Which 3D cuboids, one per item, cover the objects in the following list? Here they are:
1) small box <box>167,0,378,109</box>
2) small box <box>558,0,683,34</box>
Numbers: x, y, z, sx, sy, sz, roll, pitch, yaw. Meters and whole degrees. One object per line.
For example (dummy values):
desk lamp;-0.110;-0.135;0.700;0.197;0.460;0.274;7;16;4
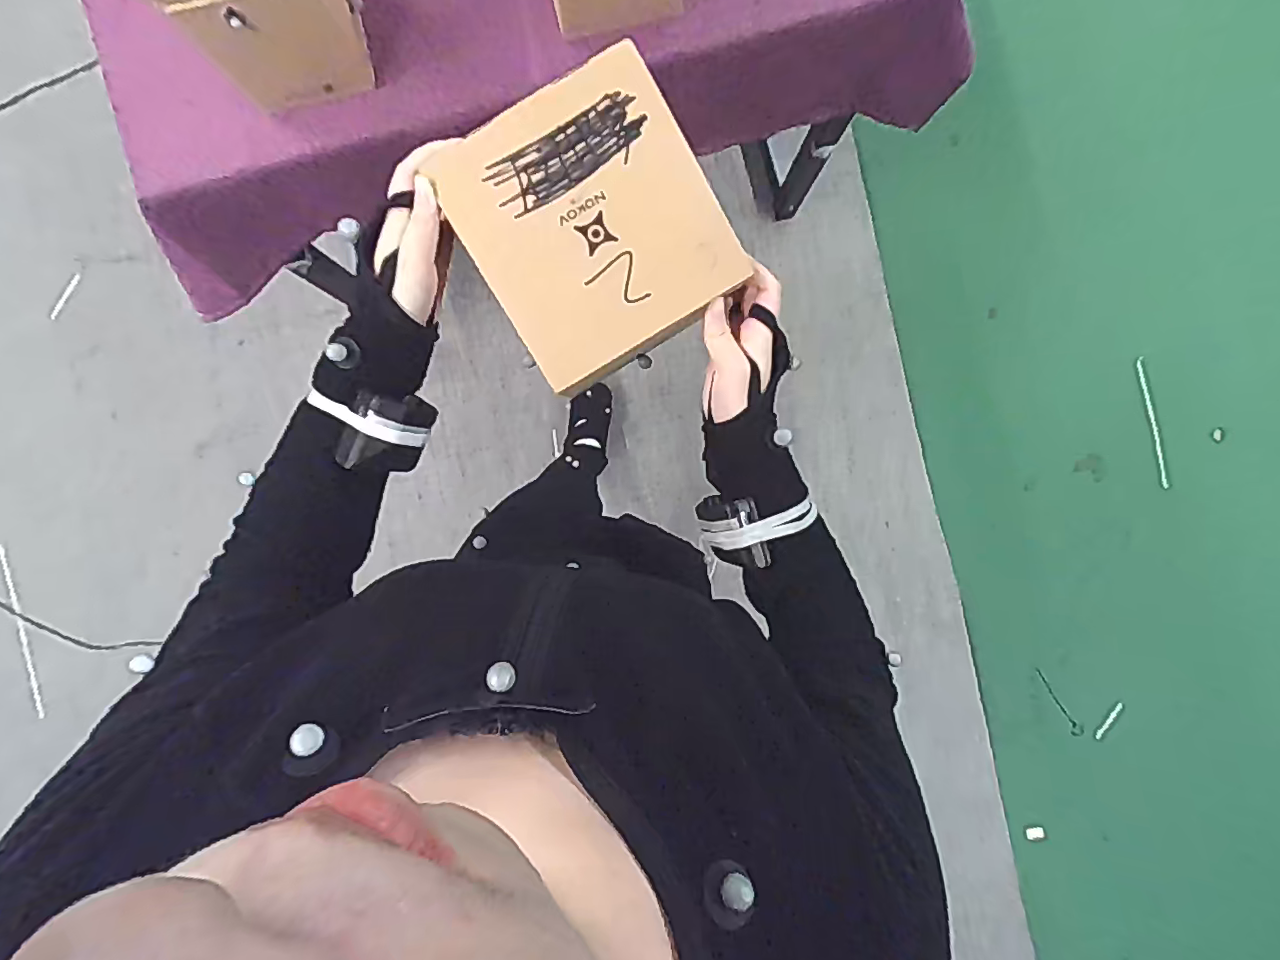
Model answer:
small box;-0.462;-0.621;0.682;0.168;0.176;0.179;-13;89;0
small box;-0.038;-0.722;0.689;0.179;0.176;0.168;-14;90;-1
